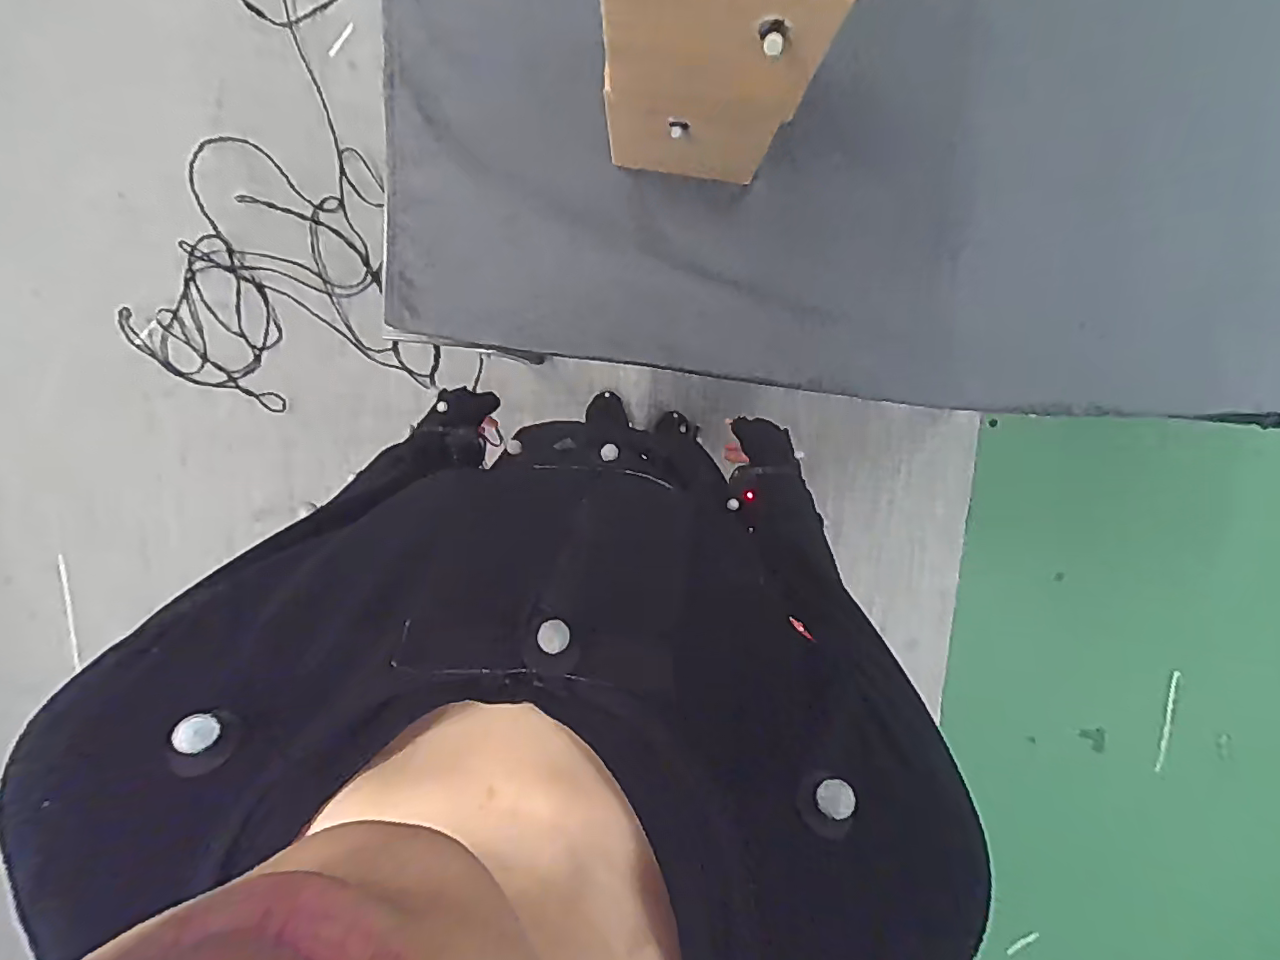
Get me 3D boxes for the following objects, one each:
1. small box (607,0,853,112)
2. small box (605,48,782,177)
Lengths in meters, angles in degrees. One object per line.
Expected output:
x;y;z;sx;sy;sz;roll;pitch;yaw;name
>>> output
0.069;-0.429;0.431;0.179;0.176;0.168;6;98;-1;small box
0.061;-0.459;0.594;0.179;0.176;0.168;7;98;-2;small box
